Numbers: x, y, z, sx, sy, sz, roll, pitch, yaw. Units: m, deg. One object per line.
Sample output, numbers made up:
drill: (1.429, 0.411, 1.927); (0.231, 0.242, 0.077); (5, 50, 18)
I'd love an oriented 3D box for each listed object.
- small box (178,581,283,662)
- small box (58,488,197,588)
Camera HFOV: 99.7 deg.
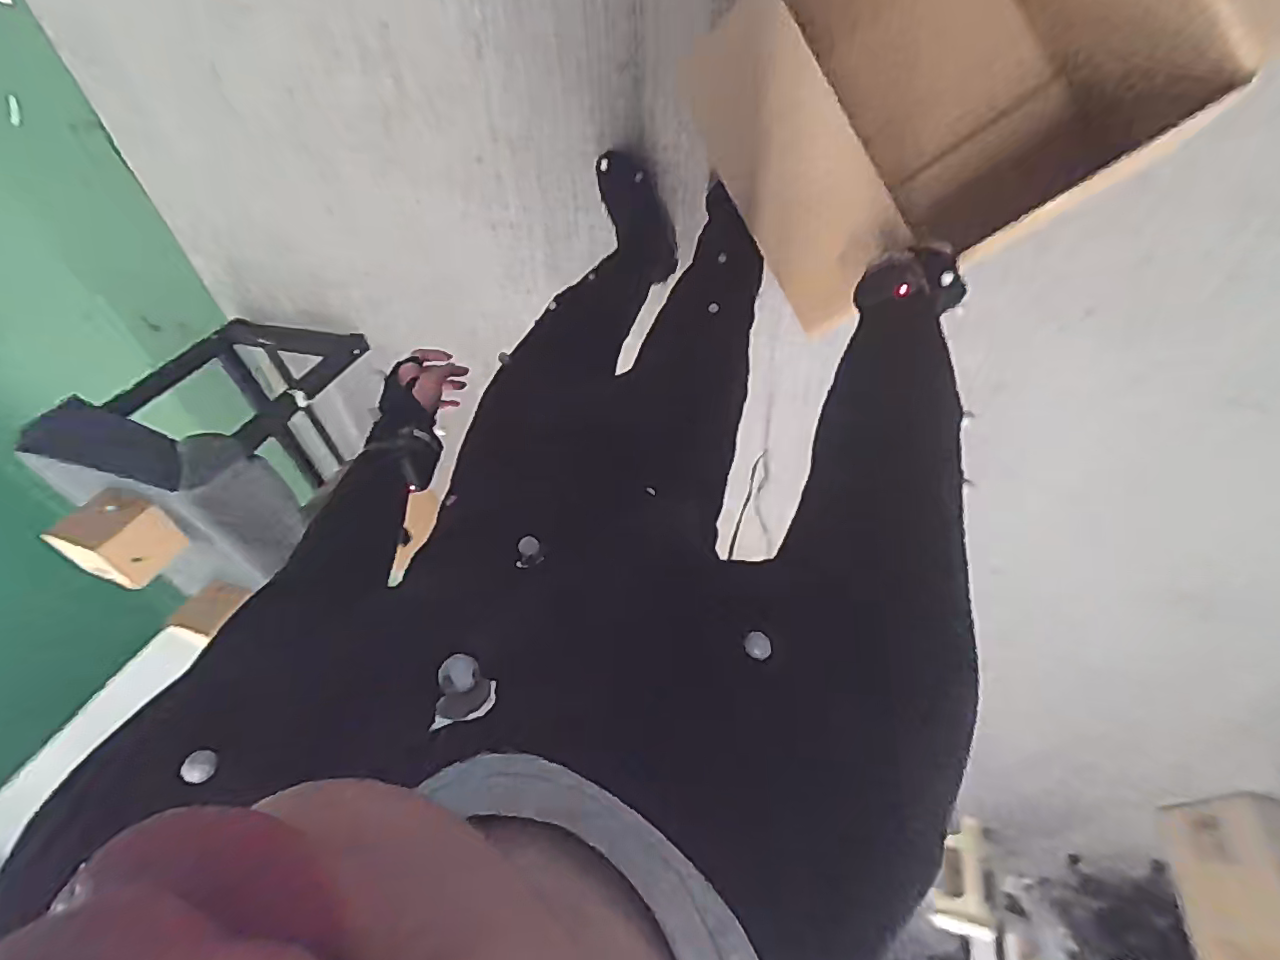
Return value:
small box: (-1.316, 0.453, 1.751); (0.168, 0.176, 0.179); (13, 138, 13)
small box: (-1.352, 0.153, 1.444); (0.168, 0.176, 0.179); (16, 138, 10)
